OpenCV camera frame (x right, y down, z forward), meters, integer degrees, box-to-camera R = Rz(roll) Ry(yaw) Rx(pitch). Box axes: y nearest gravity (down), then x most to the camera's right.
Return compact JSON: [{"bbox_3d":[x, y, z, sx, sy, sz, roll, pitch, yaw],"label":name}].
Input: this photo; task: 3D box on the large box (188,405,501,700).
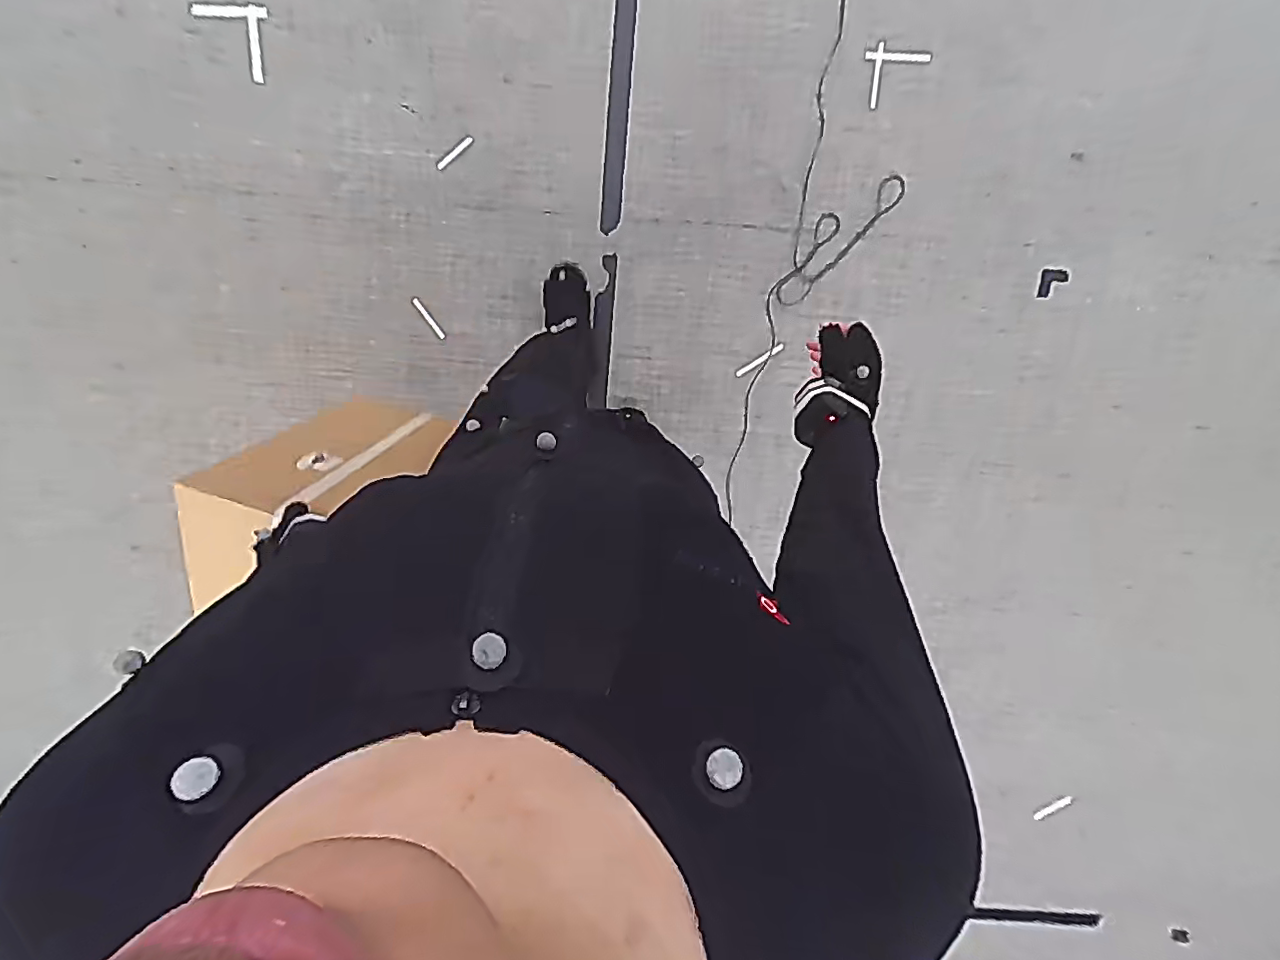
[{"bbox_3d":[-0.483,0.102,0.977,0.320,0.408,0.320,15,117,3],"label":"large box"}]
